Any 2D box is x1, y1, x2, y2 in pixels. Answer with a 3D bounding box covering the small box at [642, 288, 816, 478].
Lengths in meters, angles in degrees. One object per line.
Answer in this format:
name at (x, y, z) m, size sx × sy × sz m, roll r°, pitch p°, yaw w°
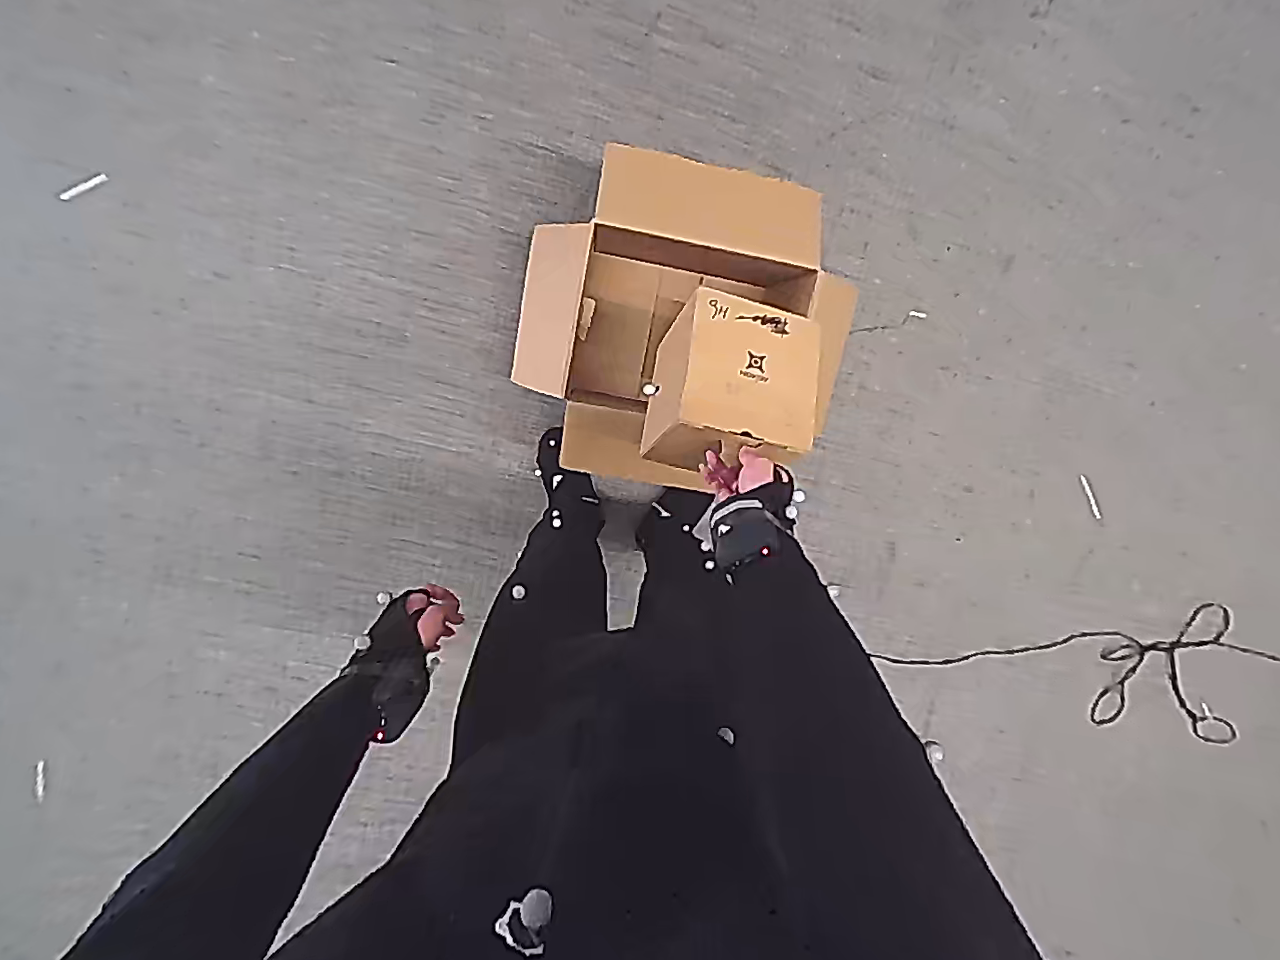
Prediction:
small box at (0.108, -0.112, 0.712) m, size 0.168 × 0.176 × 0.179 m, roll 13°, pitch 74°, yaw -12°
